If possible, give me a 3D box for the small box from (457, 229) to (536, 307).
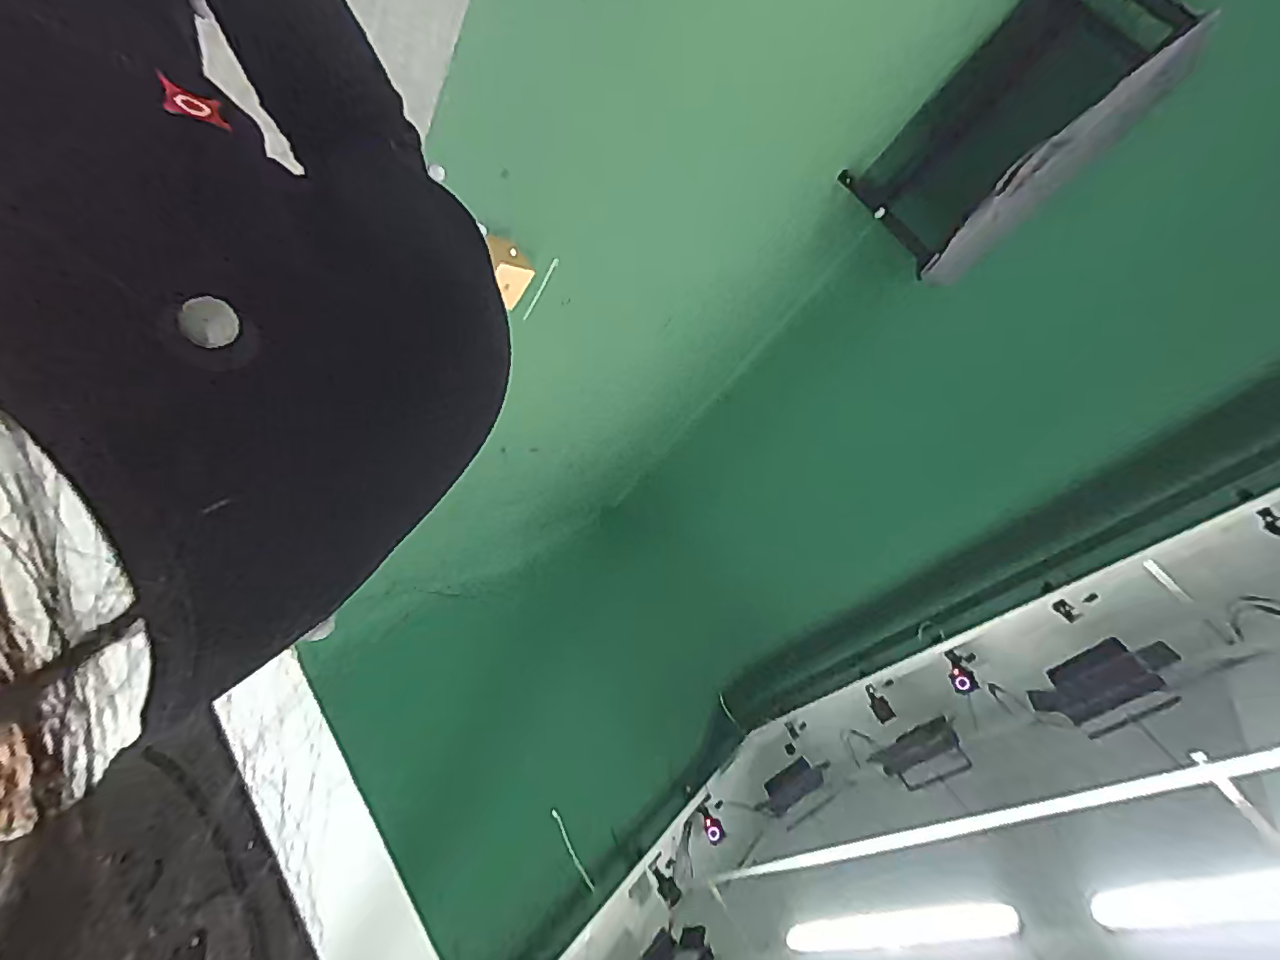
[{"bbox_3d":[-0.502,-0.732,1.872,0.179,0.176,0.168,-45,163,31],"label":"small box"}]
